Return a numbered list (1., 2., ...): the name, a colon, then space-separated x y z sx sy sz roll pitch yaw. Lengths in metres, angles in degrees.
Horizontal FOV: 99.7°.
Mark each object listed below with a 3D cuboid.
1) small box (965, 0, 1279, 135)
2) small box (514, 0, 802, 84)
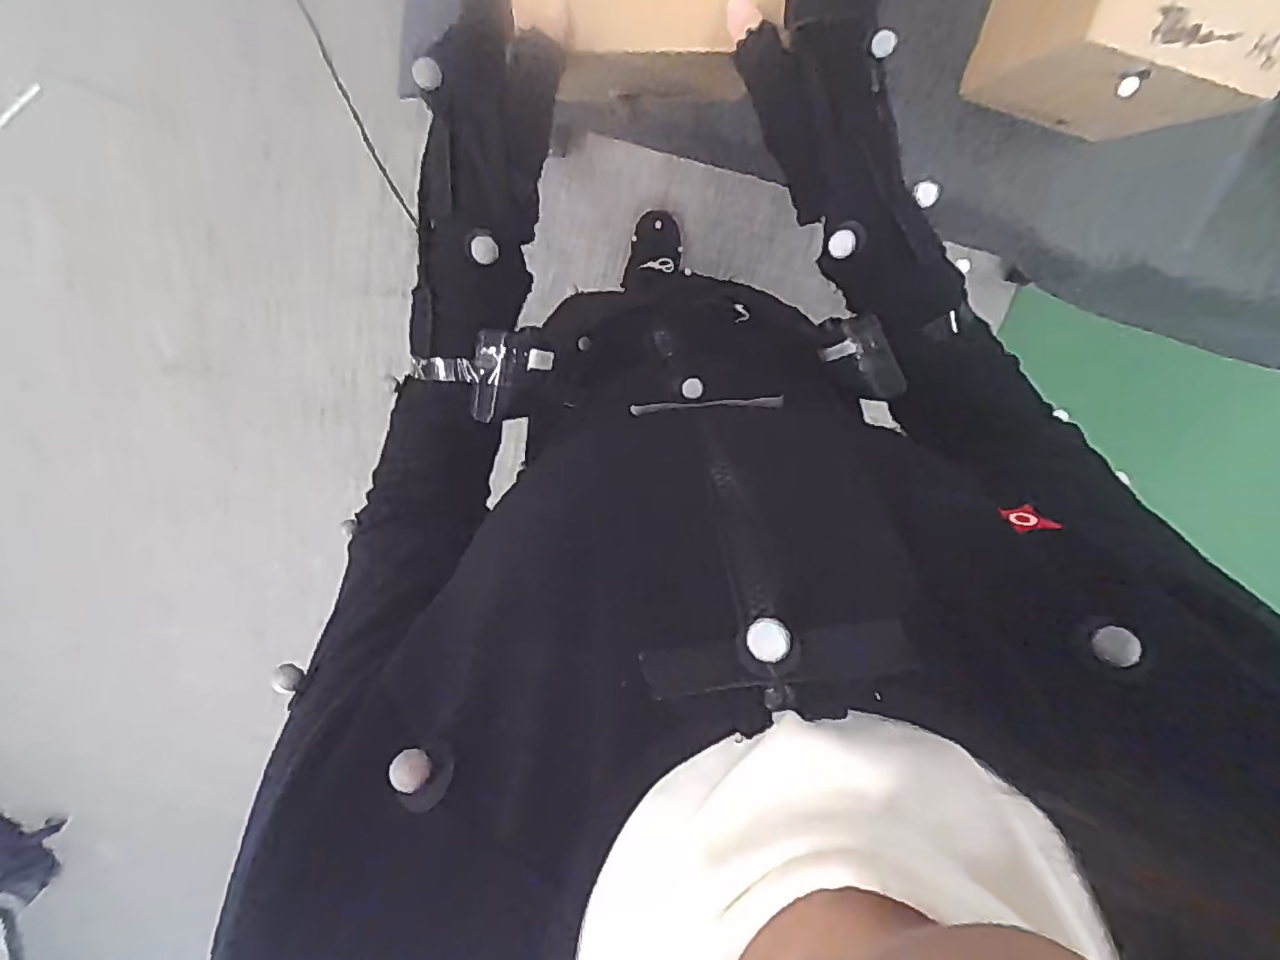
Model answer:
1. small box: 0.412 -0.416 0.443 0.168 0.176 0.179 12 112 -6
2. small box: 0.005 -0.371 0.339 0.168 0.176 0.179 -3 119 -3
